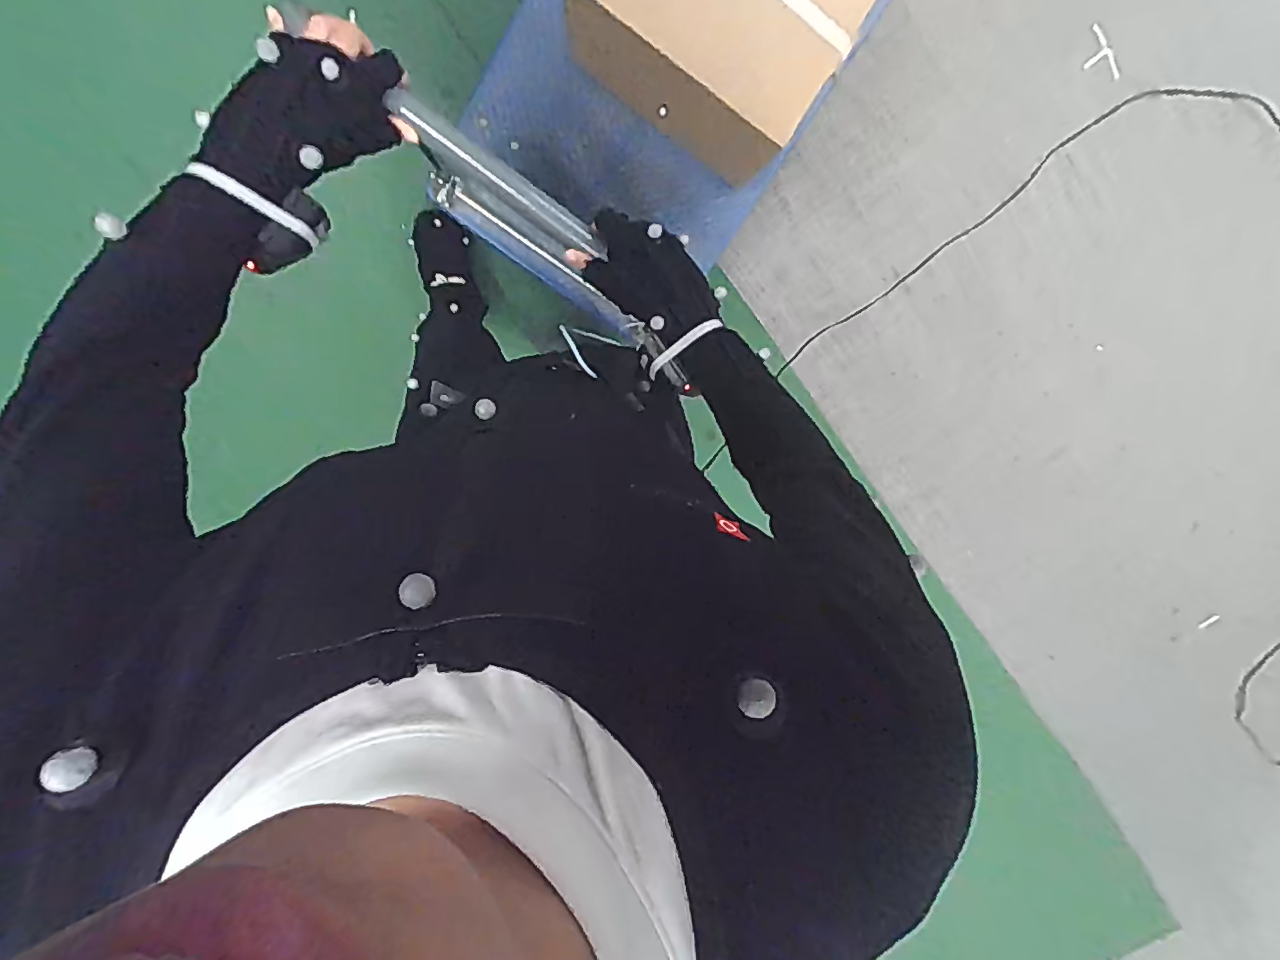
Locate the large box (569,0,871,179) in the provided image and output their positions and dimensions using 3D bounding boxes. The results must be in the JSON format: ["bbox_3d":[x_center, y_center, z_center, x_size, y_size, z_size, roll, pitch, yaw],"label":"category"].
[{"bbox_3d":[0.132,-0.796,0.916,0.408,0.320,0.320,31,103,-12],"label":"large box"}]
